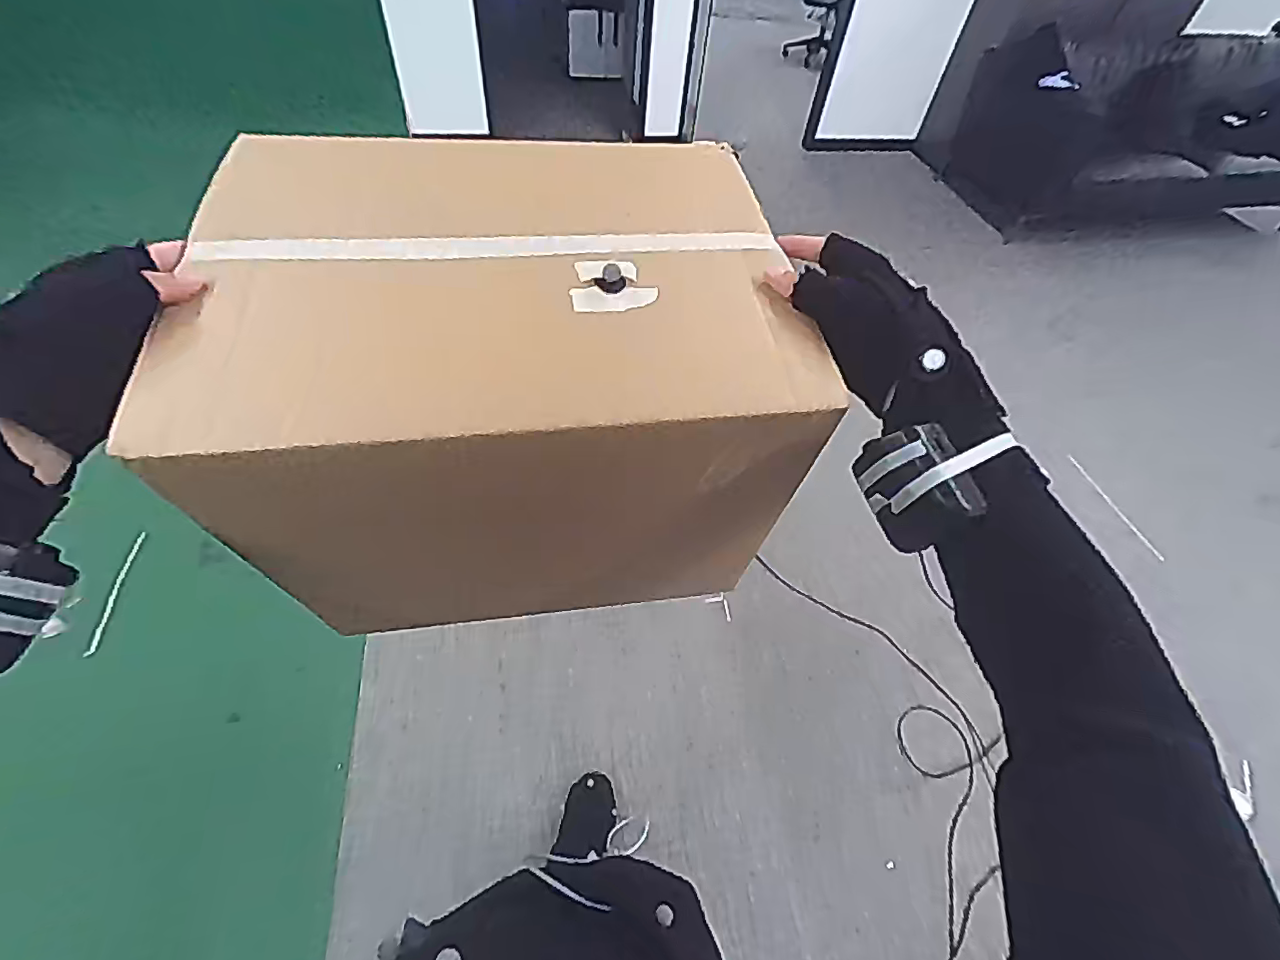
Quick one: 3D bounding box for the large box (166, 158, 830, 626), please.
[{"bbox_3d":[-0.105,-0.075,0.528,0.408,0.320,0.320,-4,58,-10],"label":"large box"}]
